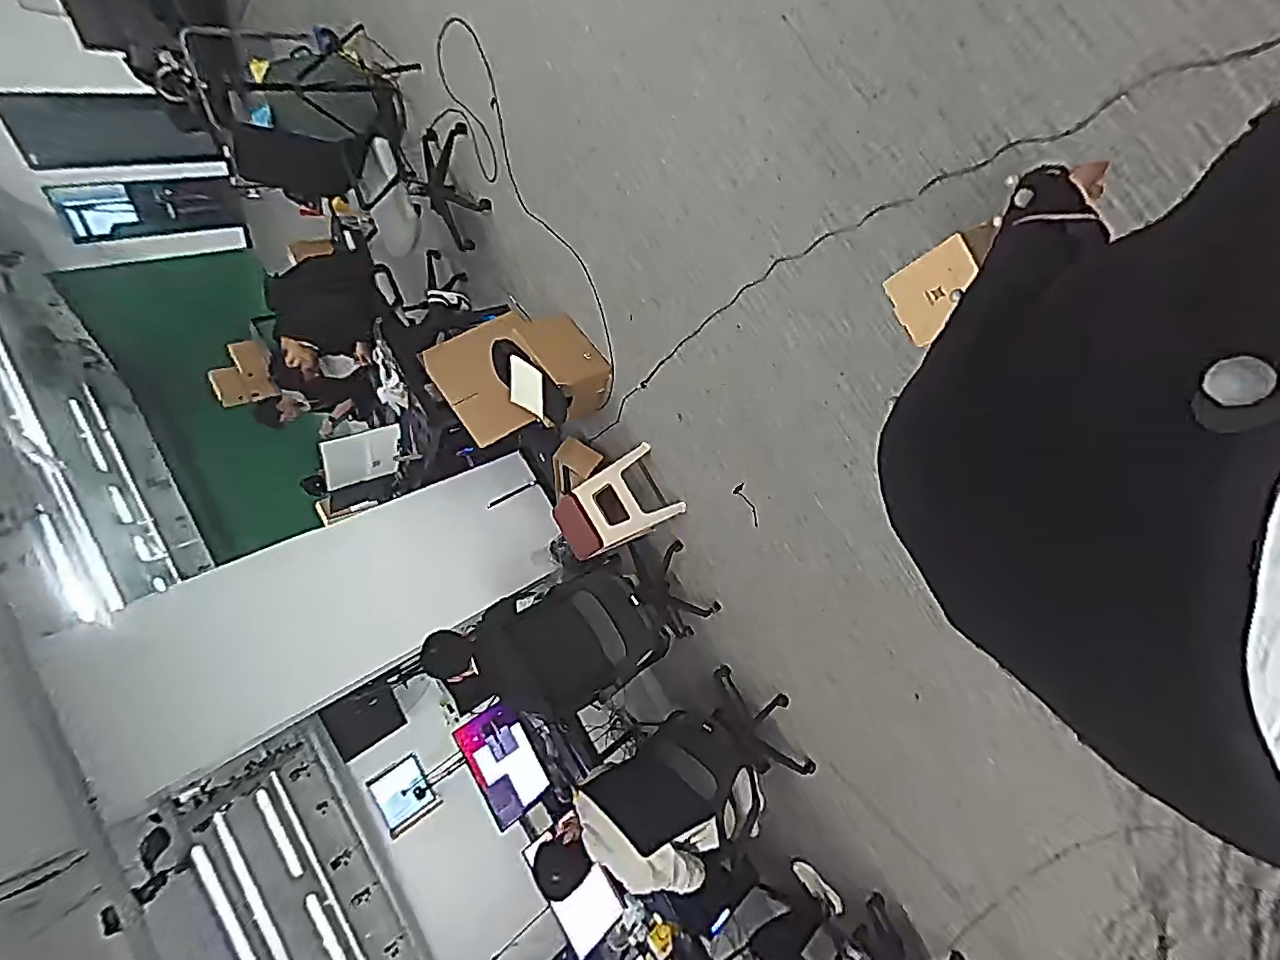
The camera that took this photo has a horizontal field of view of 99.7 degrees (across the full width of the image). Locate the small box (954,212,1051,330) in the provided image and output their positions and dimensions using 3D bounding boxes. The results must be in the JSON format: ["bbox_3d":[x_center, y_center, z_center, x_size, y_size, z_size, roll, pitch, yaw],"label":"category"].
[{"bbox_3d":[0.781,-0.476,1.224,0.179,0.176,0.168,59,147,4],"label":"small box"}]

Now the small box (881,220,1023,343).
[{"bbox_3d":[0.656,-0.416,1.137,0.179,0.176,0.168,-29,89,56],"label":"small box"}]
